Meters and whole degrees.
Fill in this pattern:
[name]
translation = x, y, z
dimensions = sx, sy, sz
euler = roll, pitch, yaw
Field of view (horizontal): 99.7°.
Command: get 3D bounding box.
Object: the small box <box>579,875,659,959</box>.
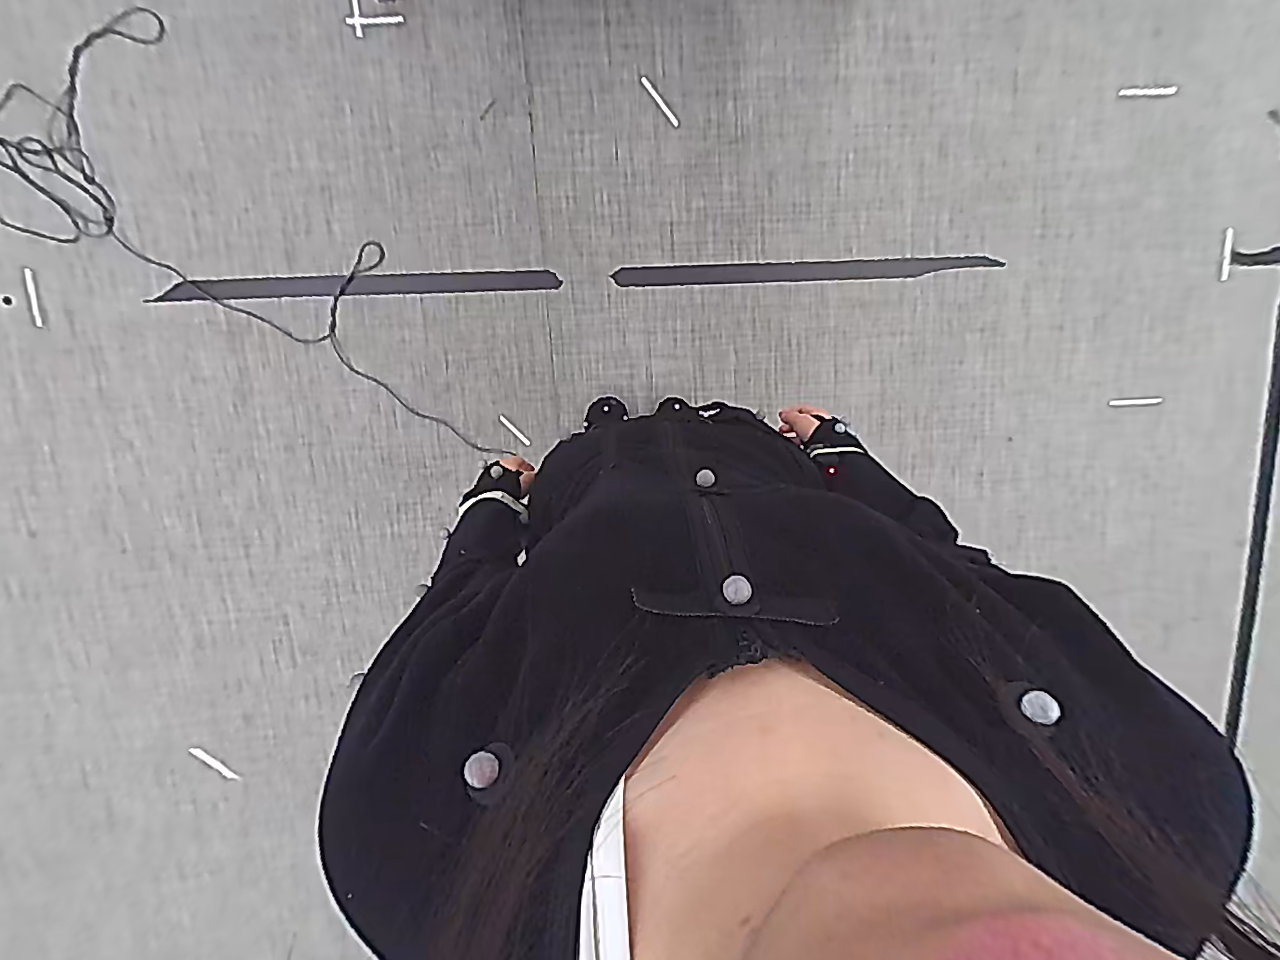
[small box]
translation = -0.047, 1.079, 1.283
dimensions = 0.179, 0.176, 0.168
euler = -5, 97, -1
